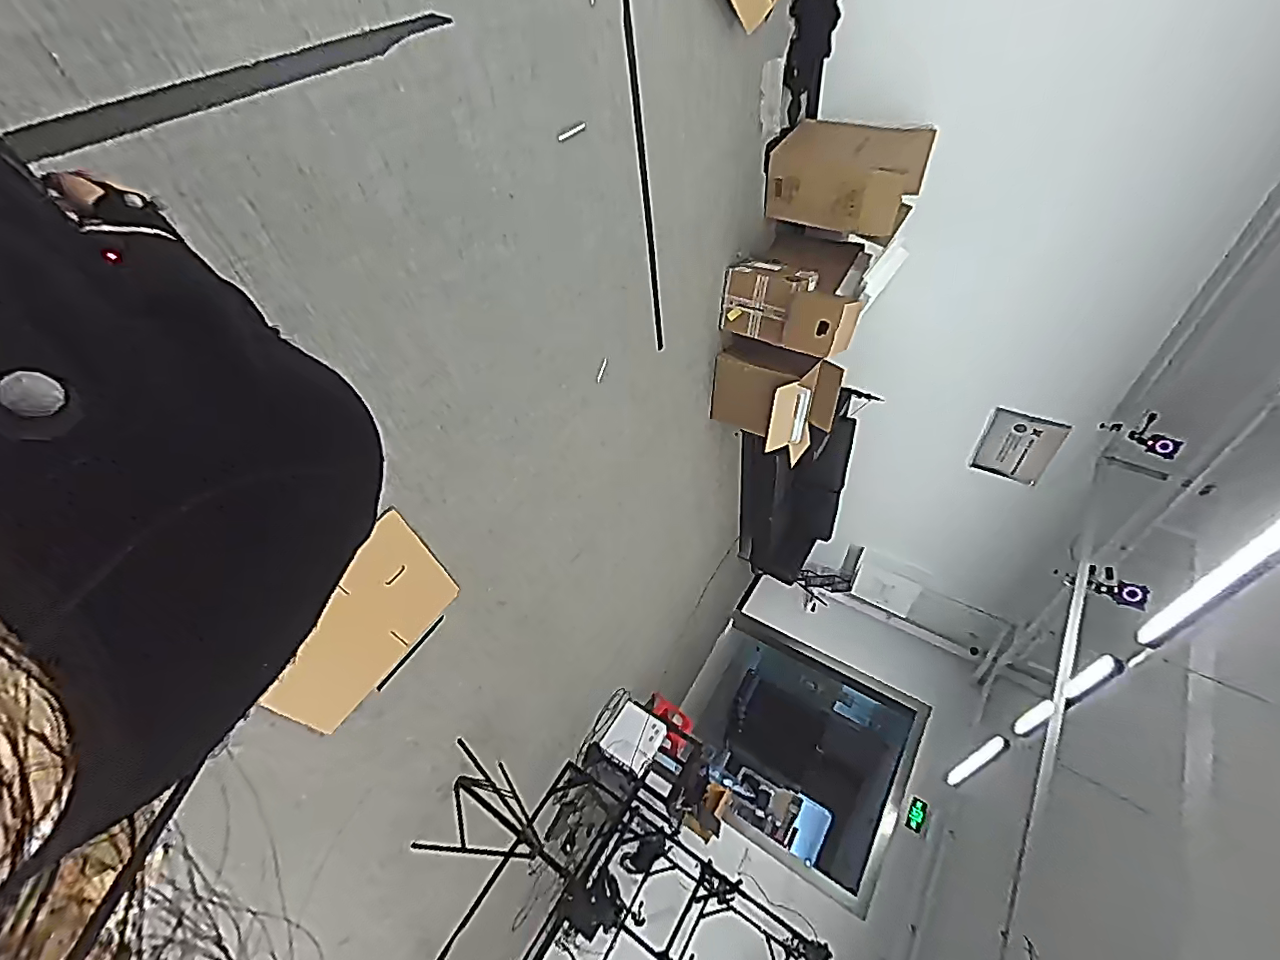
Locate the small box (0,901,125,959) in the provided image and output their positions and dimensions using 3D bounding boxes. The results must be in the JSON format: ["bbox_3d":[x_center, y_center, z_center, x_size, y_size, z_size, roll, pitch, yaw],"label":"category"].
[{"bbox_3d":[-1.206,1.017,1.093,0.179,0.176,0.168,8,102,-62],"label":"small box"}]
